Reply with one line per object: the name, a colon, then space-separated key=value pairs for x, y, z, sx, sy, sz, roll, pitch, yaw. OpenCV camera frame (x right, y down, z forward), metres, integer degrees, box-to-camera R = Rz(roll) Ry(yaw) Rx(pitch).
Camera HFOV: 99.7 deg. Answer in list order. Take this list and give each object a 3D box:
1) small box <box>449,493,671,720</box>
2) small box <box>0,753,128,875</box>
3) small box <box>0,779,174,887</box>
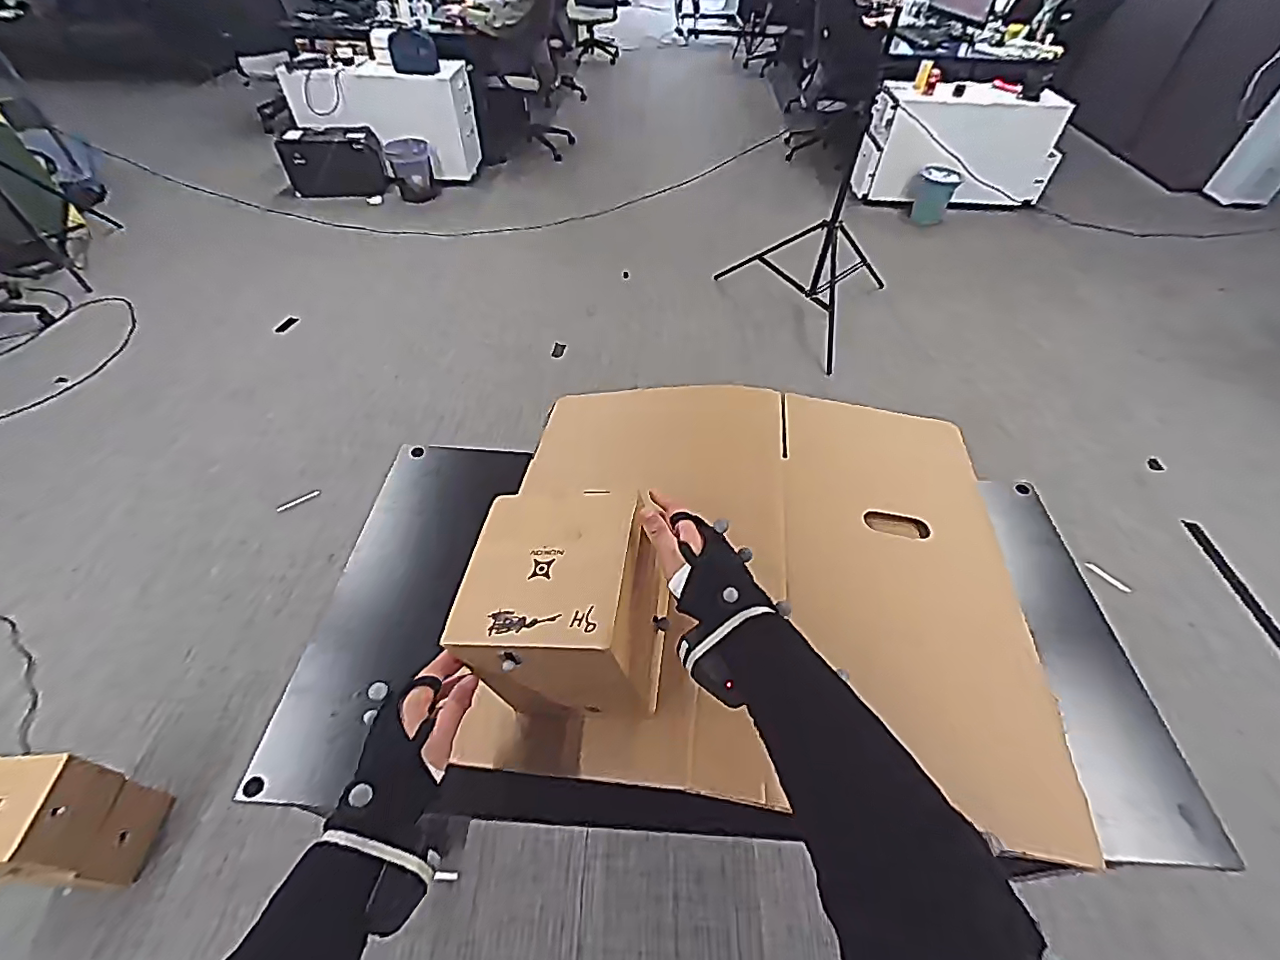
small box: x=-0.067 y=0.134 z=0.581 sx=0.168 sy=0.176 sz=0.179 roll=-4 pitch=47 yaw=16
small box: x=-1.167 y=0.651 z=1.049 sx=0.168 sy=0.176 sz=0.179 roll=-1 pitch=48 yaw=-4
small box: x=-1.170 y=0.762 z=1.167 sx=0.168 sy=0.176 sz=0.179 roll=0 pitch=50 yaw=-2
